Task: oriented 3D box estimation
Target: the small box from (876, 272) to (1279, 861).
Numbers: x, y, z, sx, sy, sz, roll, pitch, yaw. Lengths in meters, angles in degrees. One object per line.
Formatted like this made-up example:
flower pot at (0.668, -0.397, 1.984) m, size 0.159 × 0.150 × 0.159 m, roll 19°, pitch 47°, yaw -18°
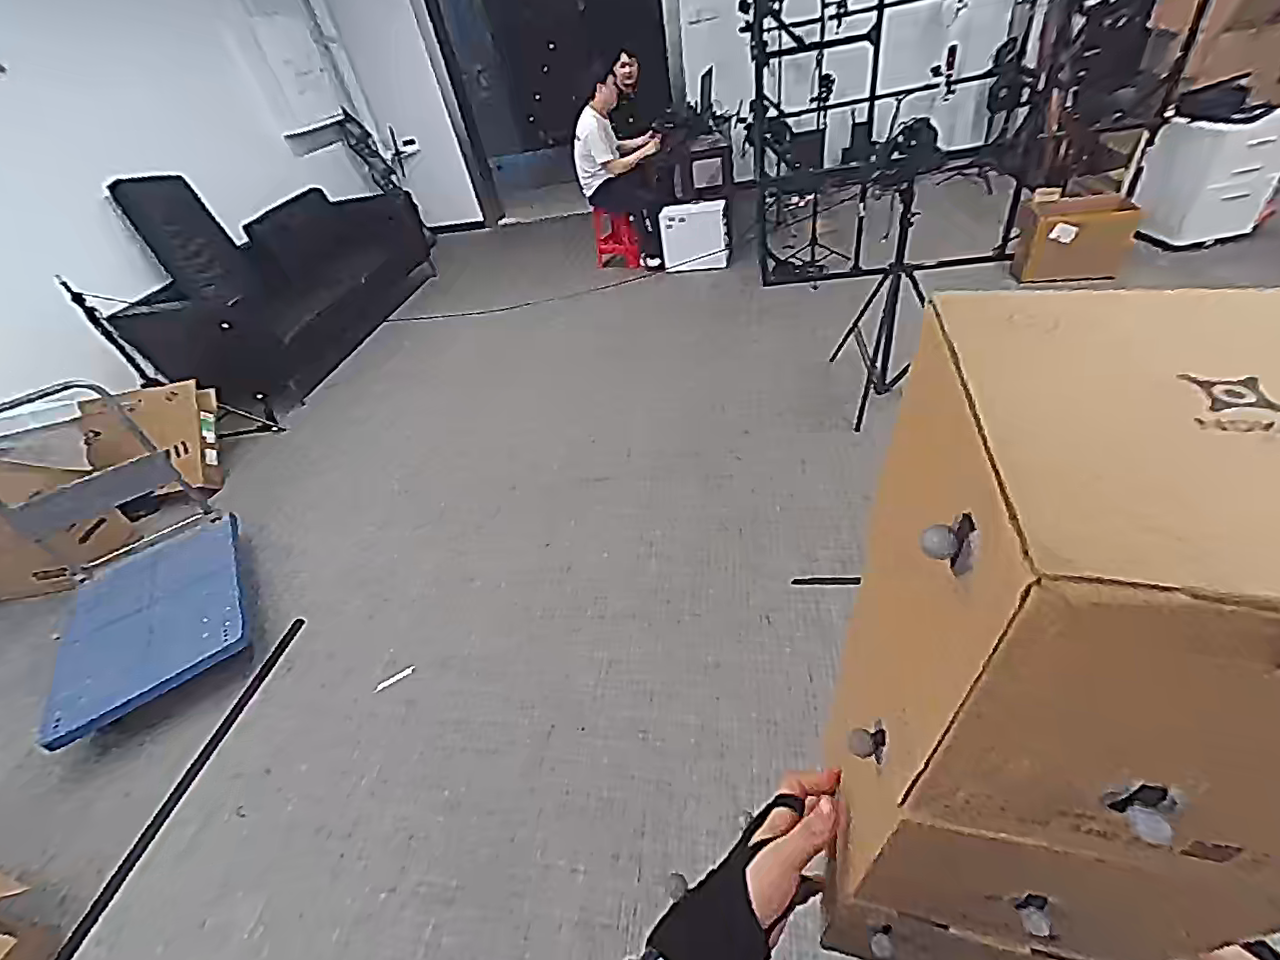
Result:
small box at (0.209, 0.025, 0.232) m, size 0.168 × 0.176 × 0.179 m, roll 4°, pitch 43°, yaw 13°

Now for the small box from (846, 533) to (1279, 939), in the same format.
small box at (0.230, 0.148, 0.337) m, size 0.168 × 0.176 × 0.179 m, roll 5°, pitch 42°, yaw 13°
